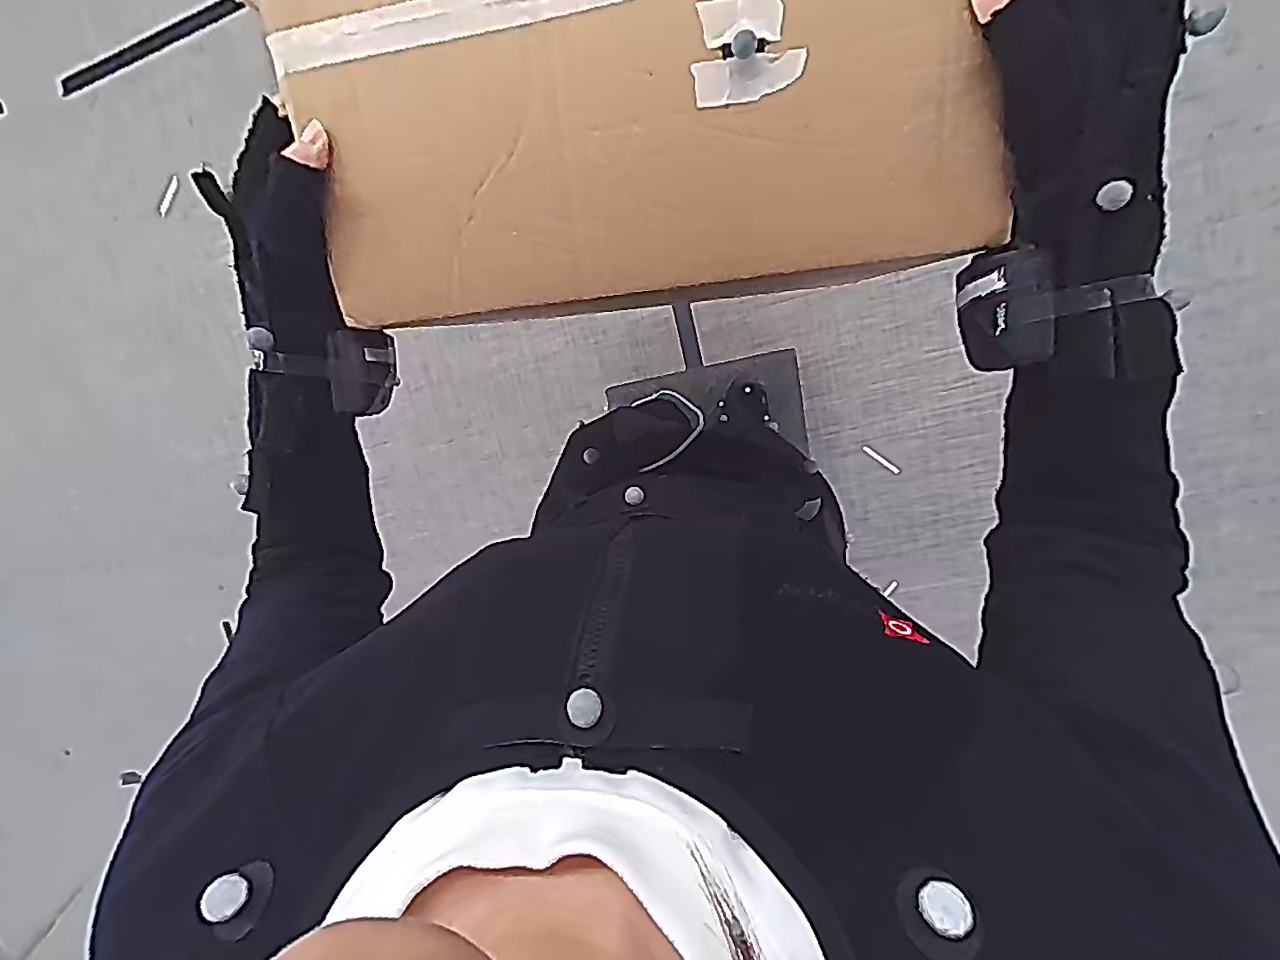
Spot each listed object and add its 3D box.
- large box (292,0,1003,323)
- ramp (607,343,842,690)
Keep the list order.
[{"bbox_3d":[0.007,-0.315,0.442,0.408,0.320,0.320,-5,107,9],"label":"large box"},{"bbox_3d":[0.263,0.162,1.518,0.509,0.206,0.991,-12,98,11],"label":"ramp"}]
